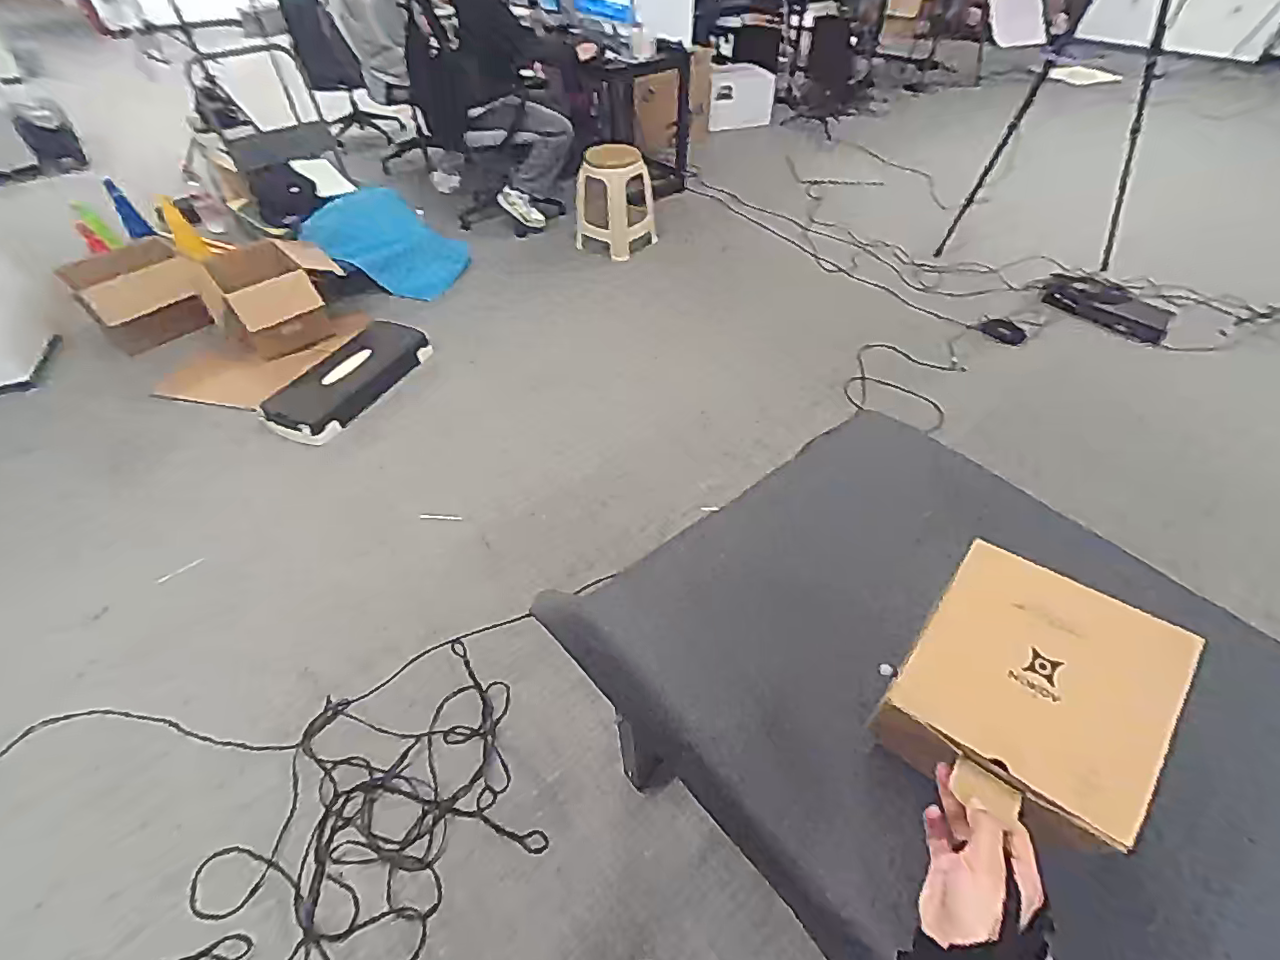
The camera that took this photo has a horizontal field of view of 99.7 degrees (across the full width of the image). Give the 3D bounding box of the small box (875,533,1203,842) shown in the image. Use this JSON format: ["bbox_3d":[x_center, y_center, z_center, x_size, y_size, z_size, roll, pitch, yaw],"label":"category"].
[{"bbox_3d":[0.328,0.186,0.483,0.168,0.176,0.179,29,67,29],"label":"small box"}]
